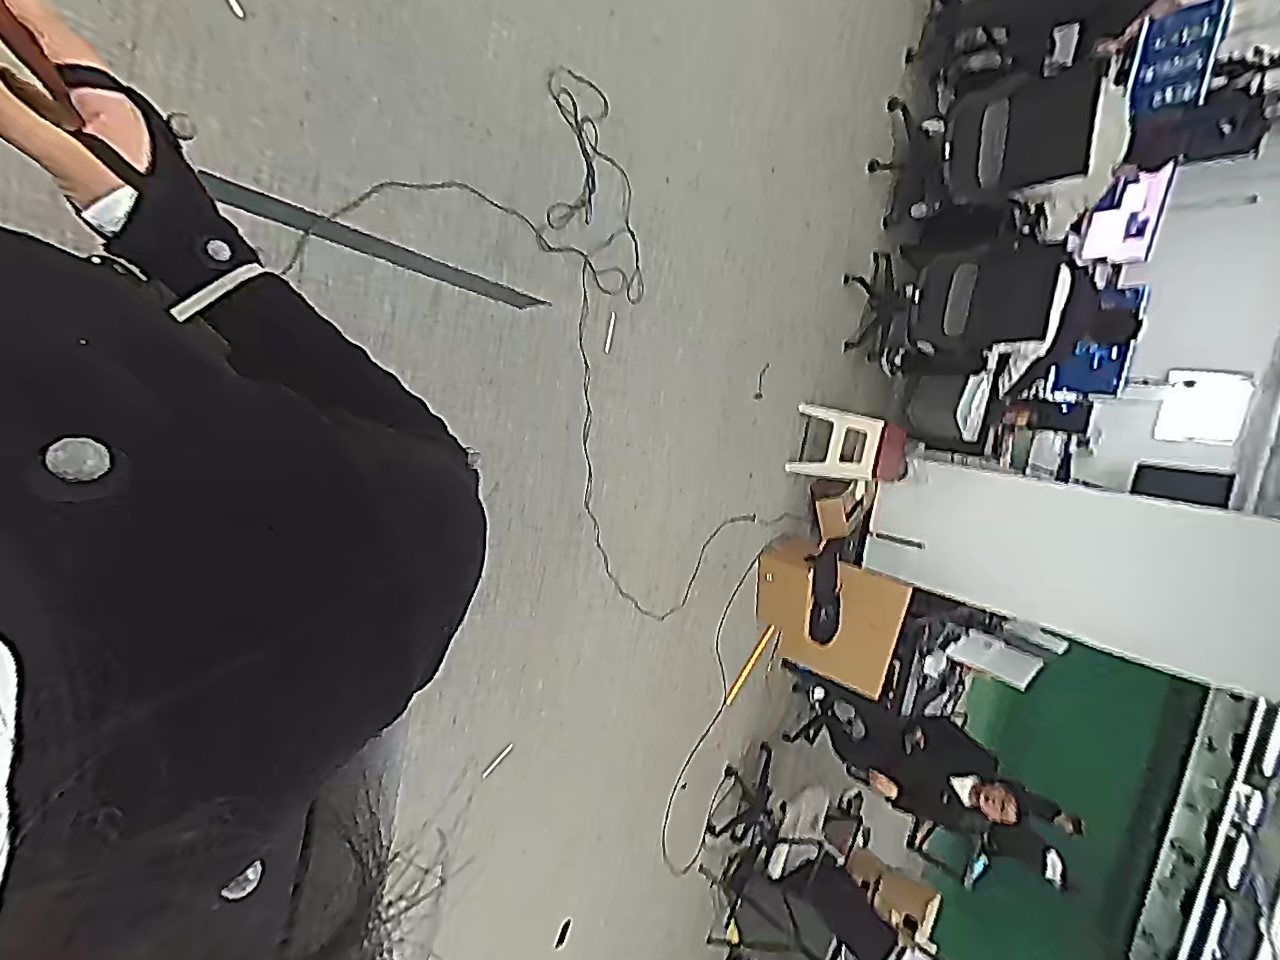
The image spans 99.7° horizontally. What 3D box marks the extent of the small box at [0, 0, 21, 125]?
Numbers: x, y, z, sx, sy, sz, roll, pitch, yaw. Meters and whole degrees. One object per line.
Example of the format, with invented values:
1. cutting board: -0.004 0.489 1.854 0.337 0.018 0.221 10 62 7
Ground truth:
1. small box: -0.452 -0.301 0.267 0.179 0.176 0.168 -8 112 -46
